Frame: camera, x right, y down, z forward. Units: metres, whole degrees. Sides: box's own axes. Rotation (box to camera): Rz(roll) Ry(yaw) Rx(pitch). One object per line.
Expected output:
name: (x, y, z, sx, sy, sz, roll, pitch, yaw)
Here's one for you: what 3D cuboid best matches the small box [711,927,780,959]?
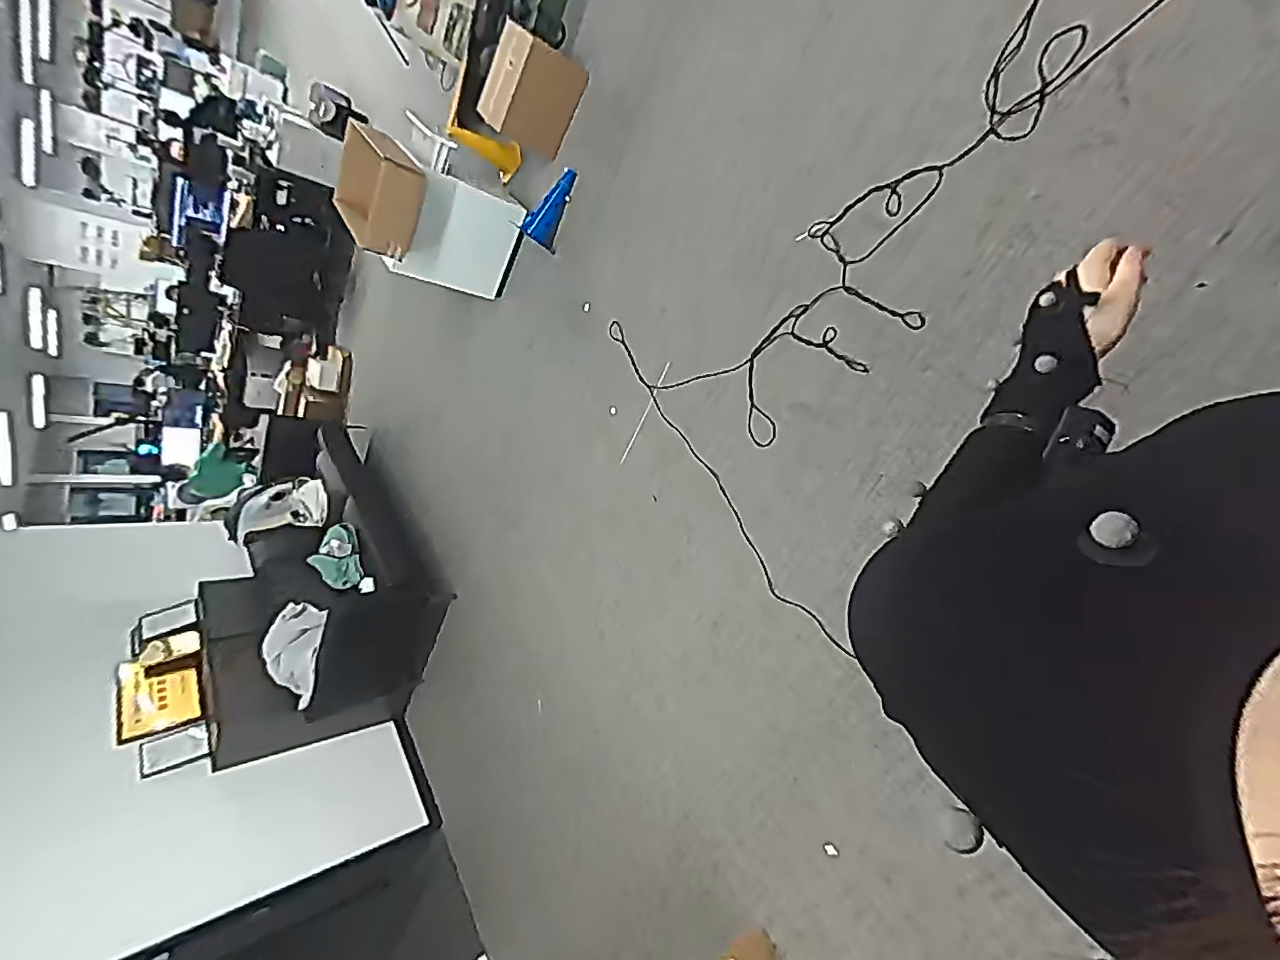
small box: (0.337, 1.570, 1.708, 0.179, 0.176, 0.168, -54, 54, 30)
